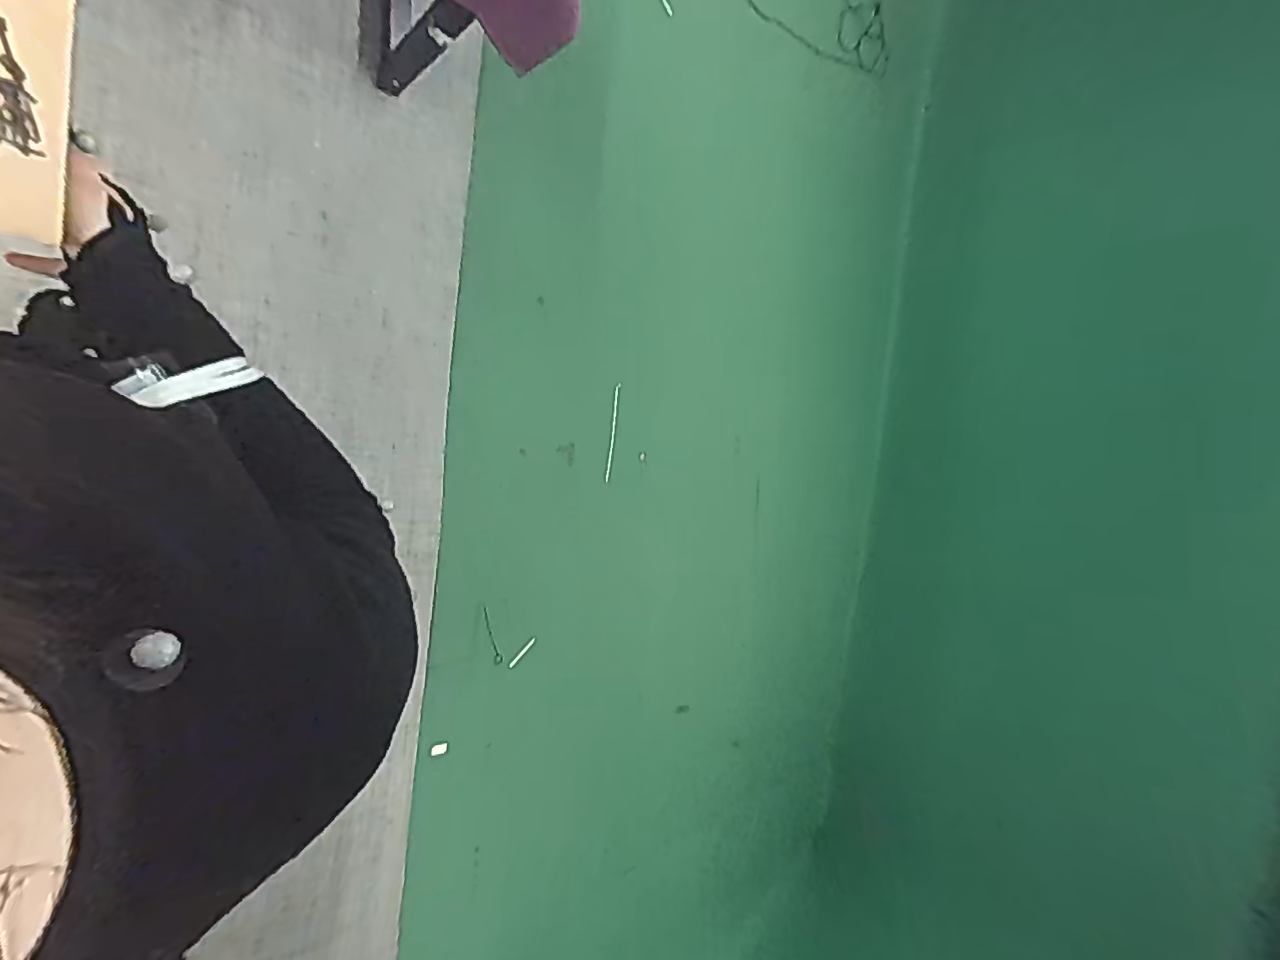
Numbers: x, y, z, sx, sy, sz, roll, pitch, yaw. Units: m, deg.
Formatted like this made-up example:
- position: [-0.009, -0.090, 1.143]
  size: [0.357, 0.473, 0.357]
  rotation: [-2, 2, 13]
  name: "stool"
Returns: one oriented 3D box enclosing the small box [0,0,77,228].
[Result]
- position: [-0.428, -0.253, 0.284]
  size: [0.179, 0.176, 0.168]
  rotation: [2, 111, -50]
  name: "small box"
